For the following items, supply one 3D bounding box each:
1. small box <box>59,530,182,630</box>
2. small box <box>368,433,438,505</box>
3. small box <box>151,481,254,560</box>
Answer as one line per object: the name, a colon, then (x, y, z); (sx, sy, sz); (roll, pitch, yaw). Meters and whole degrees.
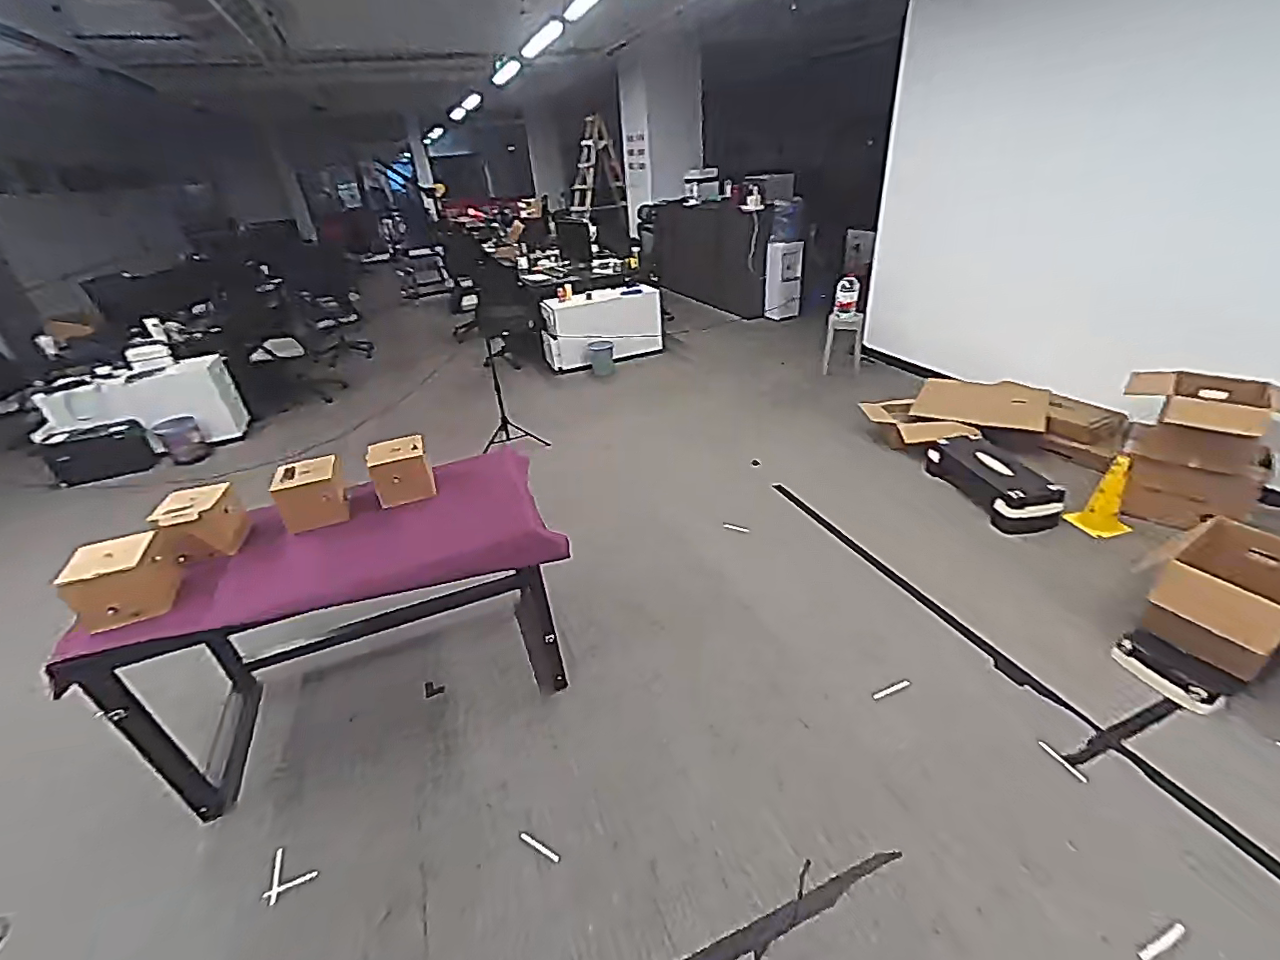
small box: (-1.364, 0.265, 1.438); (0.168, 0.176, 0.179); (-16, 33, -21)
small box: (-0.810, -0.035, 1.853); (0.179, 0.176, 0.168); (-16, 35, -15)
small box: (-1.331, 0.130, 1.661); (0.168, 0.176, 0.179); (-12, 32, -12)
